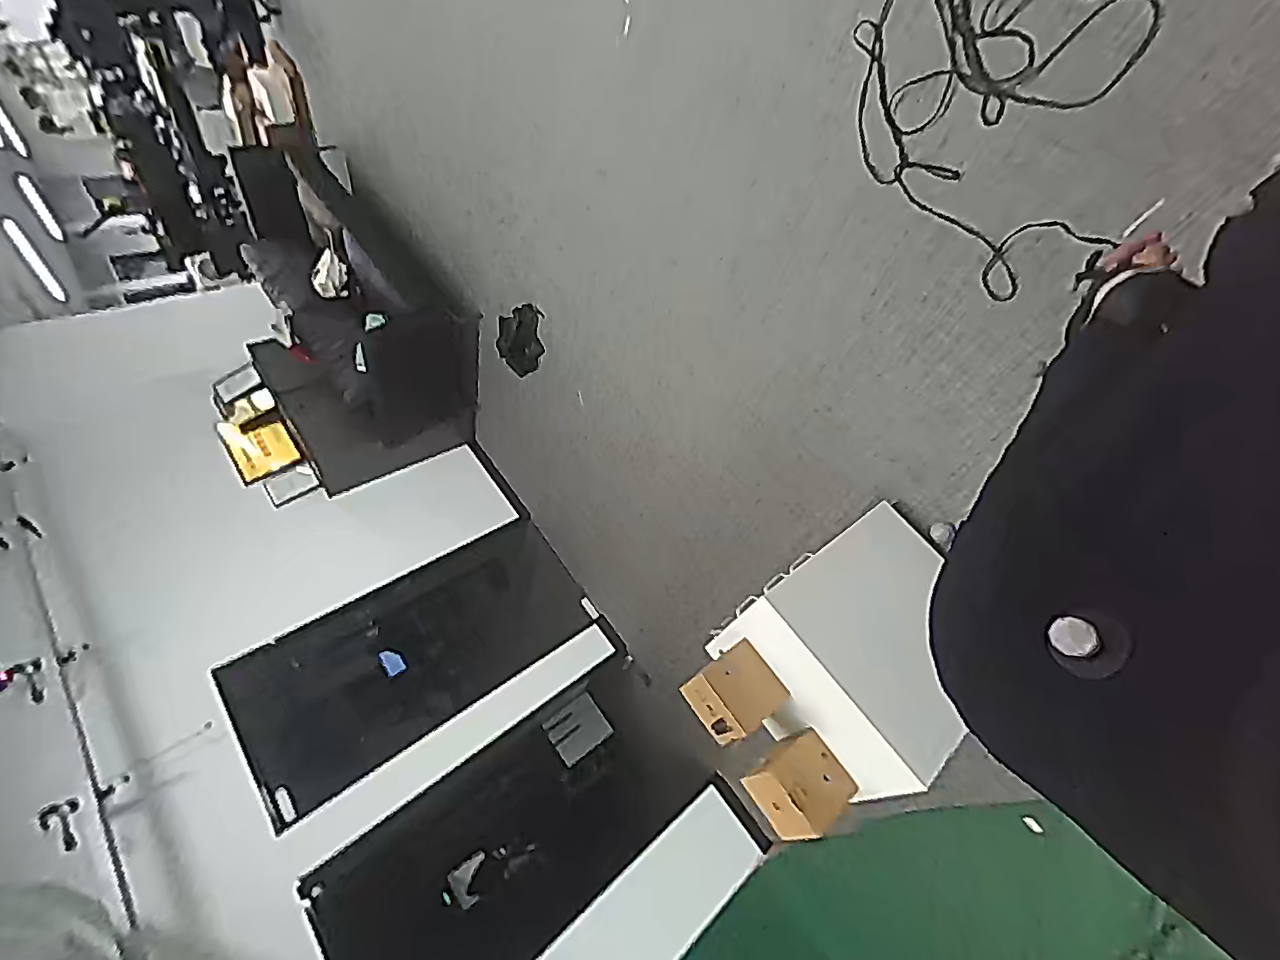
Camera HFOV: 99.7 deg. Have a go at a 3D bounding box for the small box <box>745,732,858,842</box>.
[{"bbox_3d":[0.396,0.751,1.327,0.168,0.176,0.179,51,146,19],"label":"small box"}]
